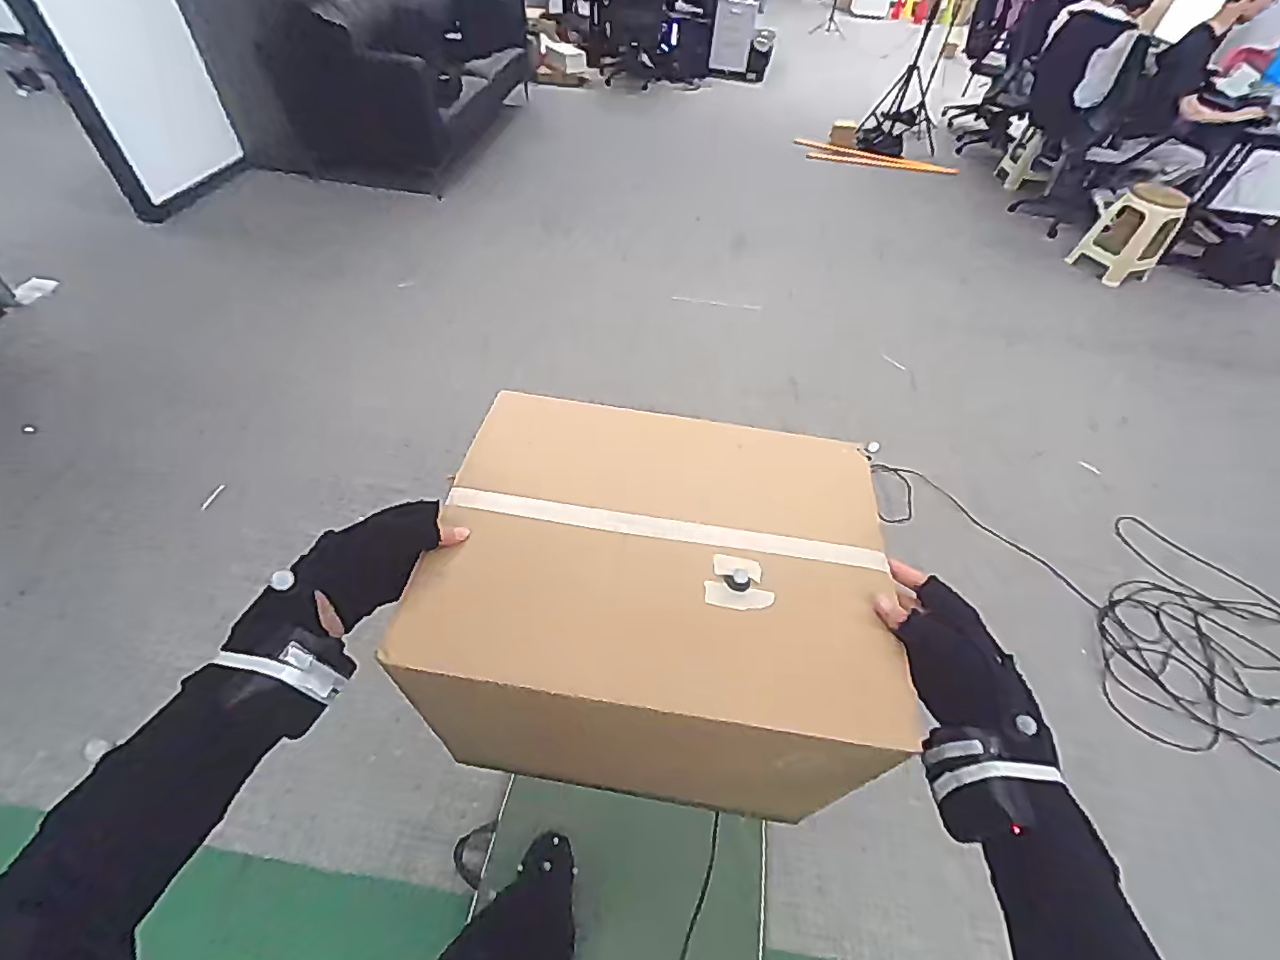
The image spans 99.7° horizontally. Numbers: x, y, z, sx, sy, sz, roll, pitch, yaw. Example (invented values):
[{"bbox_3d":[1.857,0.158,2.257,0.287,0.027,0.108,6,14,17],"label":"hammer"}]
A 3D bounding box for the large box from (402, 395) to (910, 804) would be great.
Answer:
[{"bbox_3d":[0.014,0.141,0.620,0.408,0.320,0.320,9,50,1],"label":"large box"}]
